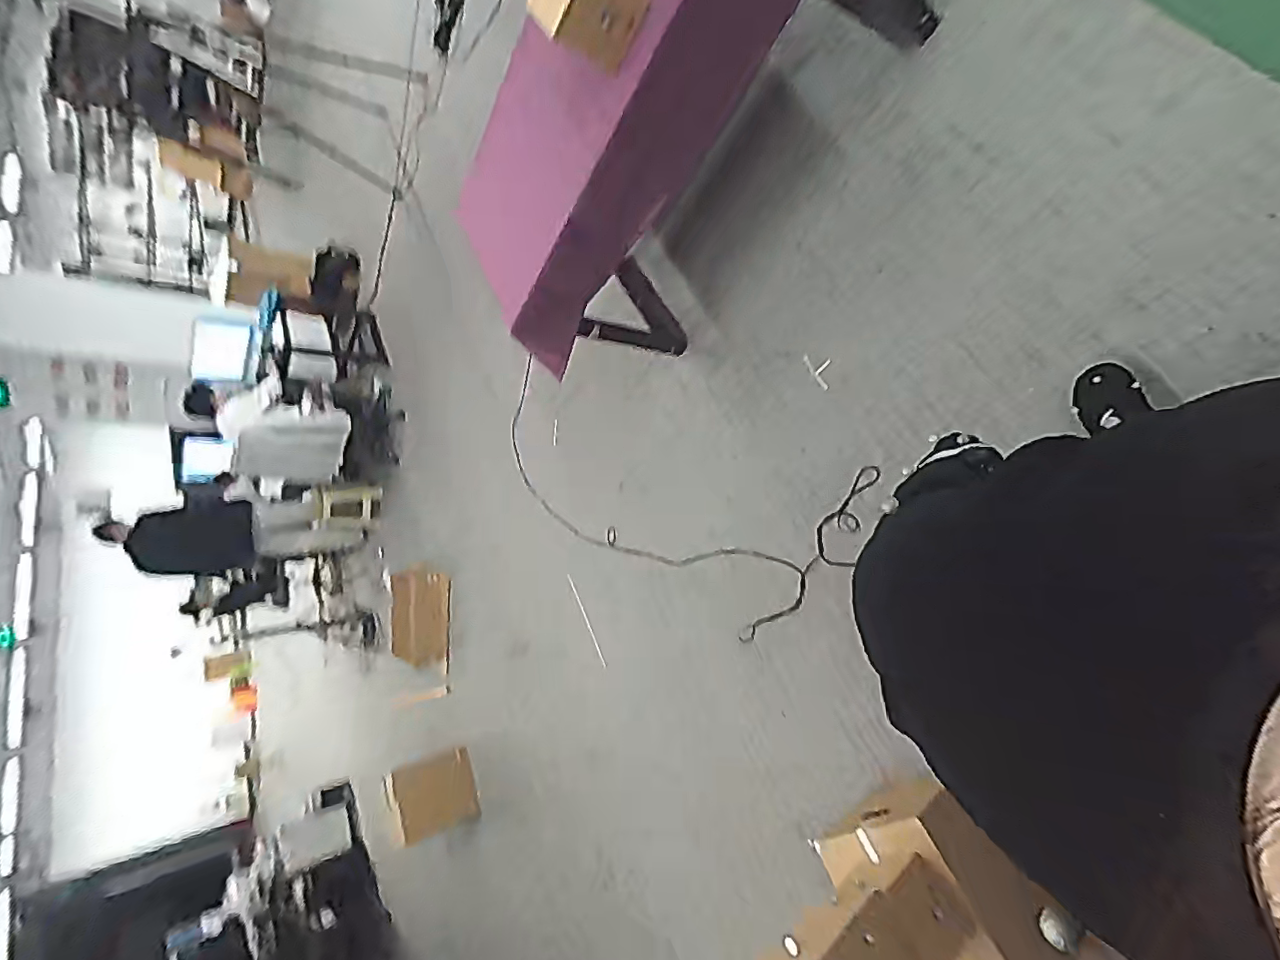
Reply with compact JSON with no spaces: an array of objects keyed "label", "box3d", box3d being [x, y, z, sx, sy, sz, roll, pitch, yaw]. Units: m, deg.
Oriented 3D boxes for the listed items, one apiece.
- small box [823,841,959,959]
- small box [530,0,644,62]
[{"label":"small box","box3d":[0.538,0.912,1.156,0.179,0.176,0.168,-47,59,35]},{"label":"small box","box3d":[-0.113,-1.047,1.157,0.168,0.176,0.179,-47,60,36]}]
